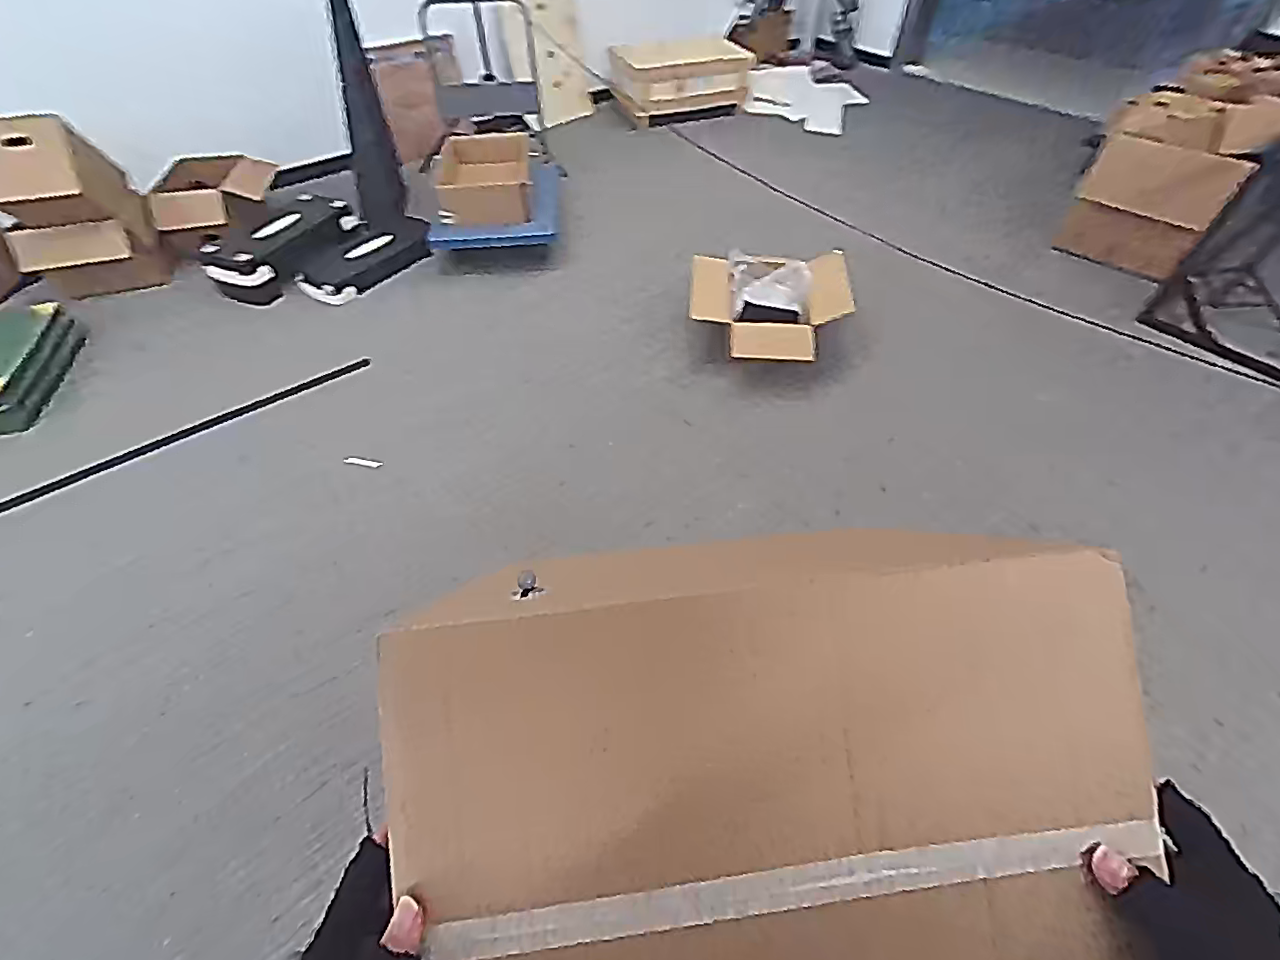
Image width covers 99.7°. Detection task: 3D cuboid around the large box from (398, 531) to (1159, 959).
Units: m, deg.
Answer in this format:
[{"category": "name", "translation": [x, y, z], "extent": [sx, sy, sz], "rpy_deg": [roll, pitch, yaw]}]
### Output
[{"category": "large box", "translation": [0.074, 0.222, 0.444], "extent": [0.408, 0.320, 0.320], "rpy_deg": [-6, 89, -3]}]
